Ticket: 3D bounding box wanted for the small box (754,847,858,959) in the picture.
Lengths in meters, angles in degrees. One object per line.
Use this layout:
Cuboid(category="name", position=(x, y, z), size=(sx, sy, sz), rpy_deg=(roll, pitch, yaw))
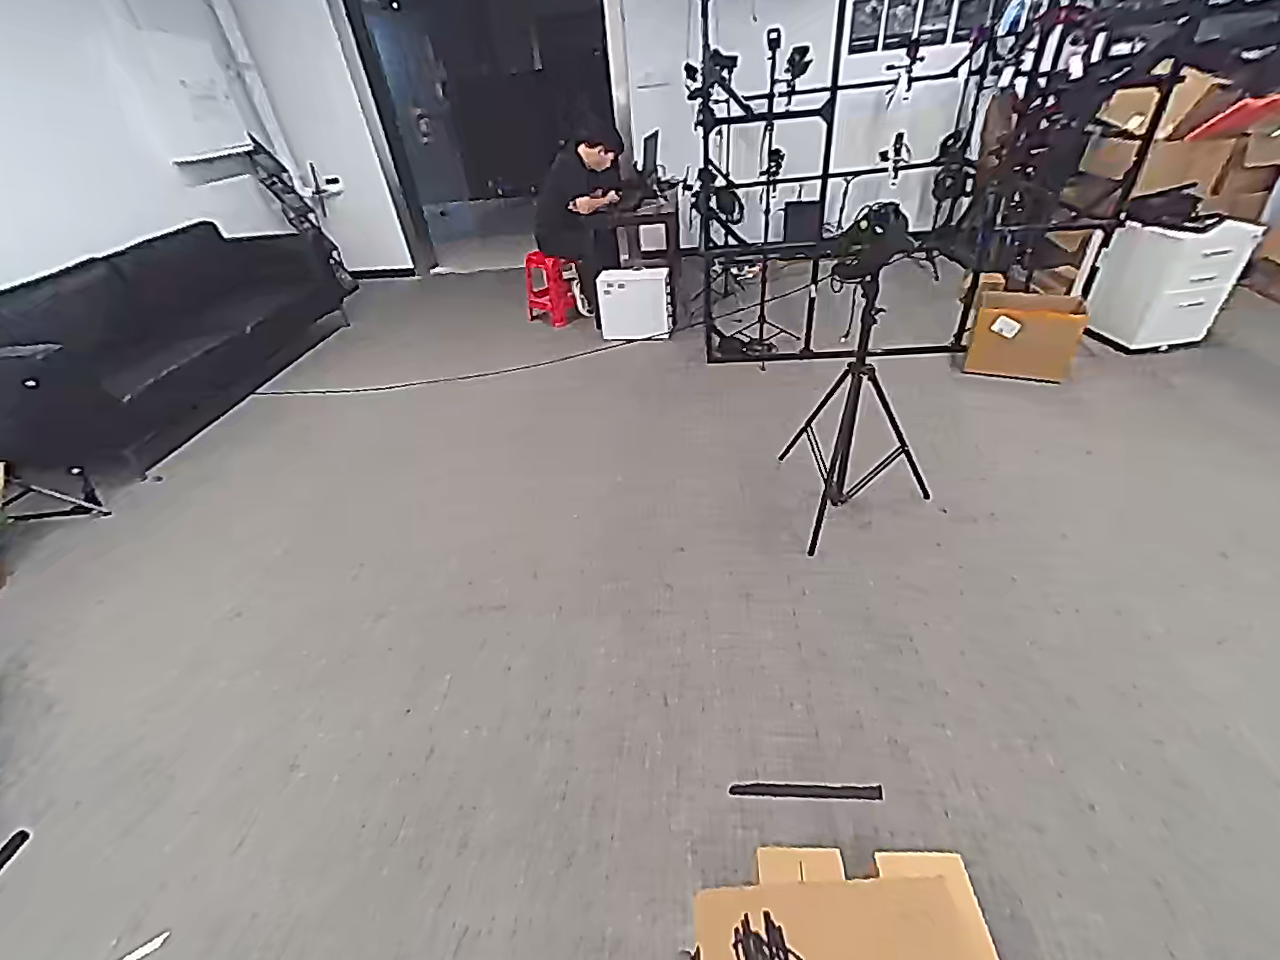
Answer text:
Cuboid(category="small box", position=(0.316, 0.856, 1.064), size=(0.168, 0.176, 0.179), rpy_deg=(-2, 36, 6))
